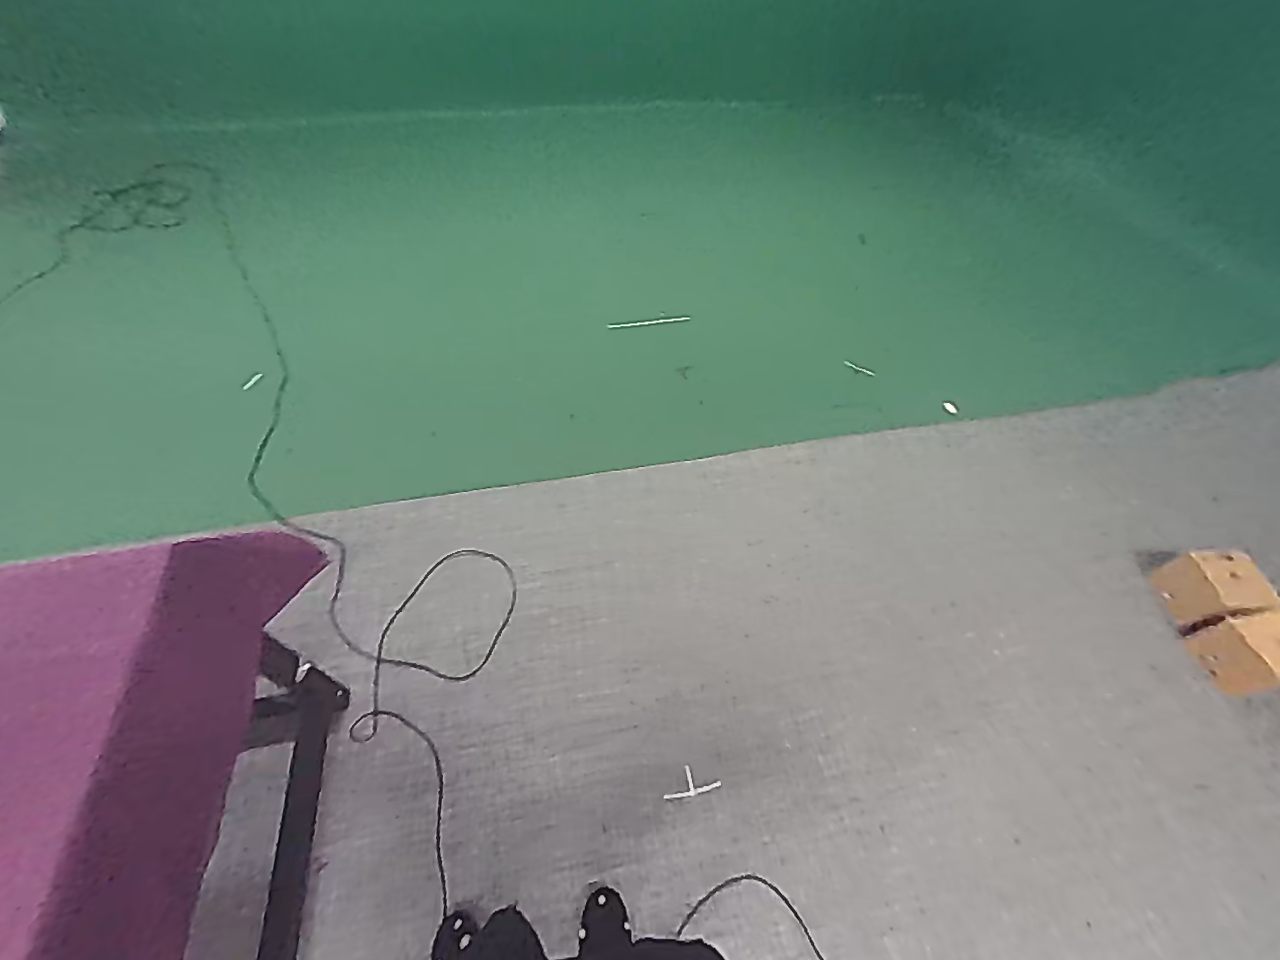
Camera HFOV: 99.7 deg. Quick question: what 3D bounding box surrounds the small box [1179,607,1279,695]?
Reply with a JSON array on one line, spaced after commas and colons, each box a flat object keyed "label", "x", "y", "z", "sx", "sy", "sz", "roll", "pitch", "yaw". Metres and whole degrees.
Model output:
[{"label": "small box", "x": 1.644, "y": 0.463, "z": 1.458, "sx": 0.179, "sy": 0.176, "sz": 0.168, "roll": -9, "pitch": 54, "yaw": -7}]
